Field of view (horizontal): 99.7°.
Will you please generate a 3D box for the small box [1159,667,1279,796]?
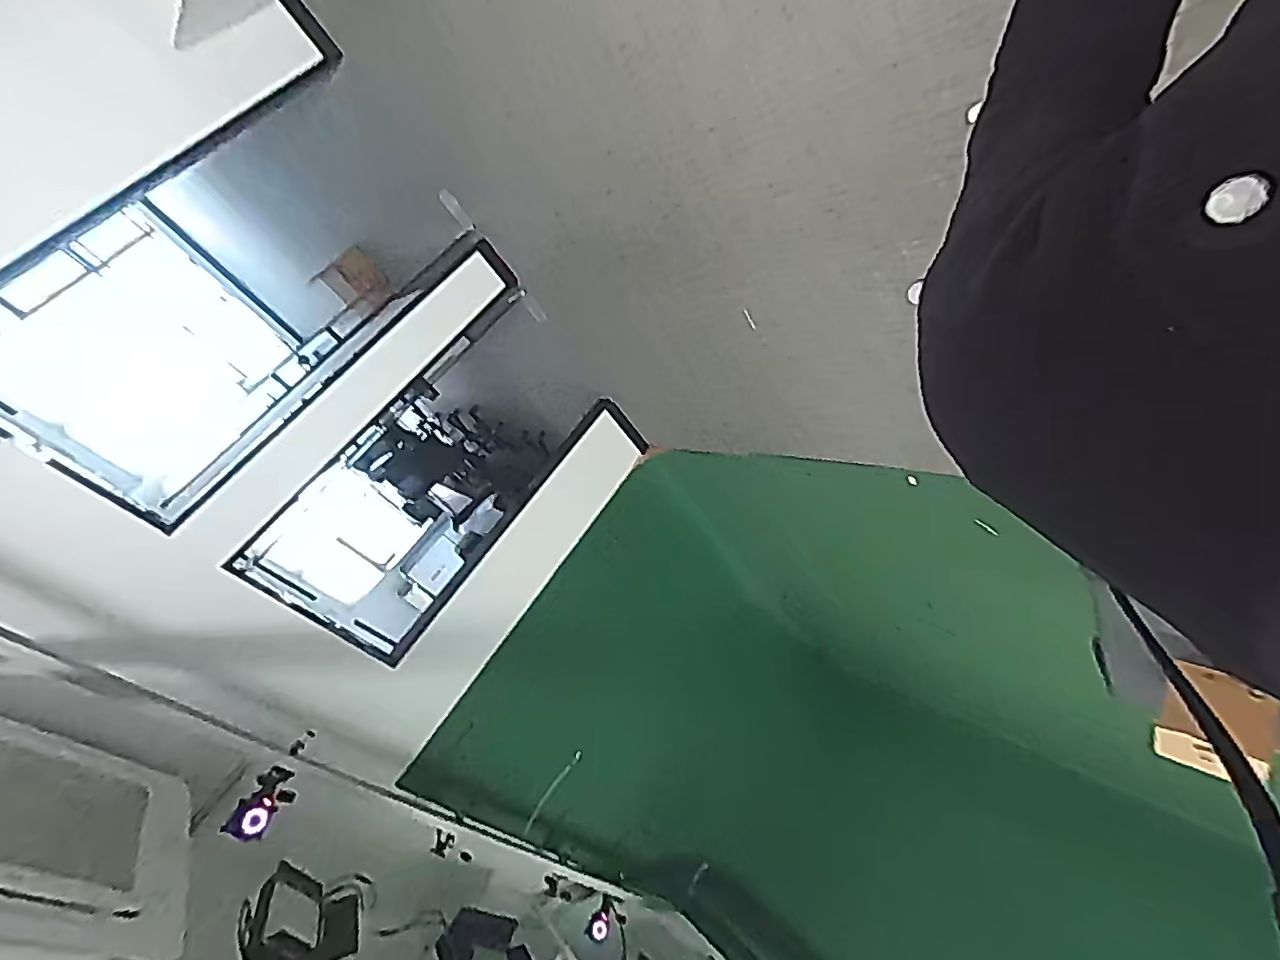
[{"bbox_3d":[1.254,0.535,1.171,0.168,0.176,0.179,11,149,49],"label":"small box"}]
